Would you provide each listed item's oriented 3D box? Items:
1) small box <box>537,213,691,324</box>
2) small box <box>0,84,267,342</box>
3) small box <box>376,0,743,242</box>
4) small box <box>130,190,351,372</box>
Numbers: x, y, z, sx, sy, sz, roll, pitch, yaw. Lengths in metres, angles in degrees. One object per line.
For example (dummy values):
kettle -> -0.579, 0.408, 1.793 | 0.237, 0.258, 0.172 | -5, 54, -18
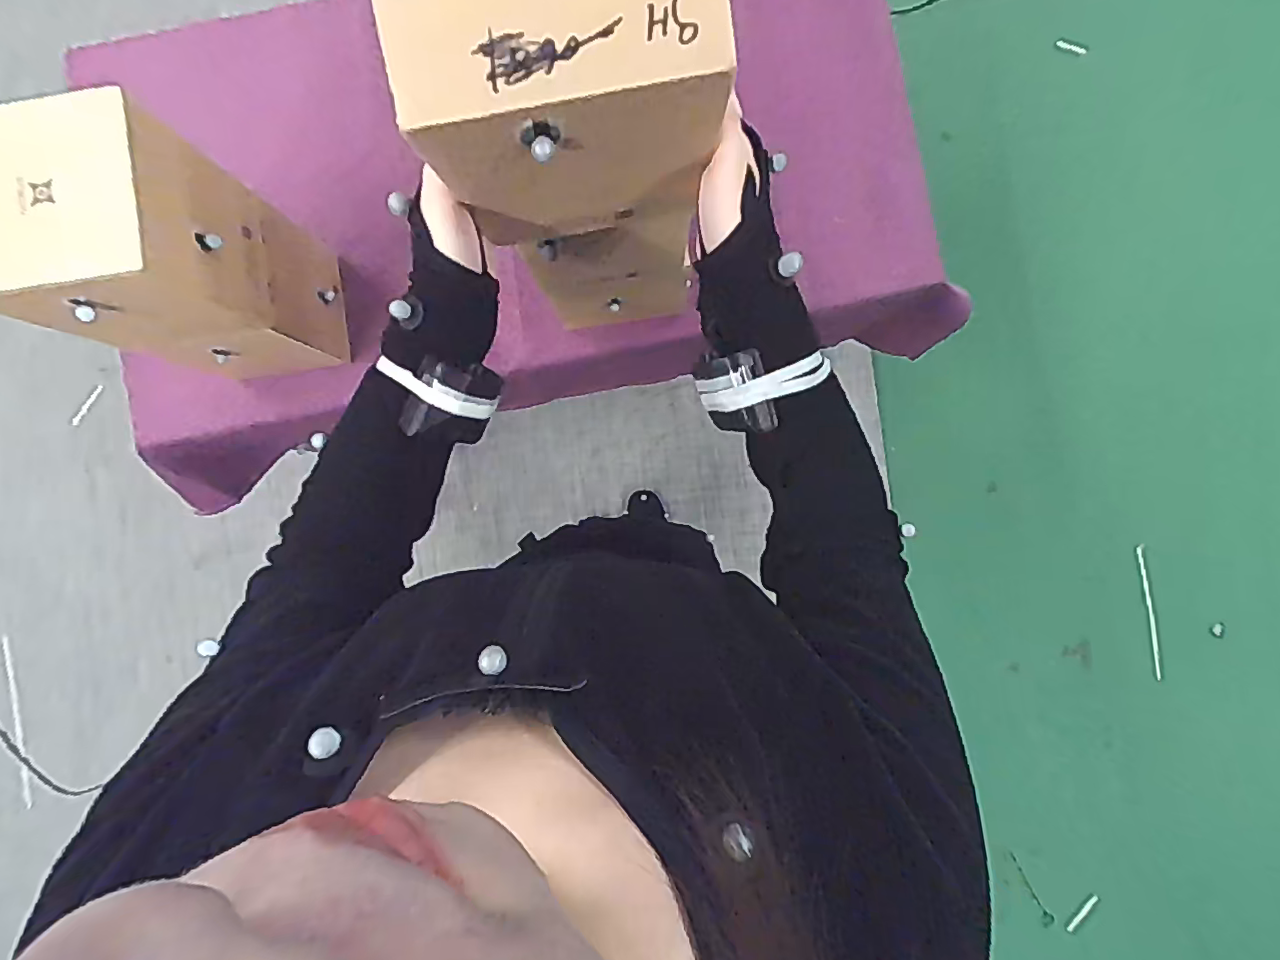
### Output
small box -> -0.035, -0.315, 0.703 | 0.179, 0.176, 0.168 | -8, 89, 2
small box -> -0.515, -0.249, 0.547 | 0.179, 0.176, 0.168 | -8, 89, 2
small box -> -0.045, -0.270, 0.323 | 0.168, 0.176, 0.179 | -9, 96, 2
small box -> -0.517, -0.246, 0.710 | 0.179, 0.176, 0.168 | -8, 90, 1
